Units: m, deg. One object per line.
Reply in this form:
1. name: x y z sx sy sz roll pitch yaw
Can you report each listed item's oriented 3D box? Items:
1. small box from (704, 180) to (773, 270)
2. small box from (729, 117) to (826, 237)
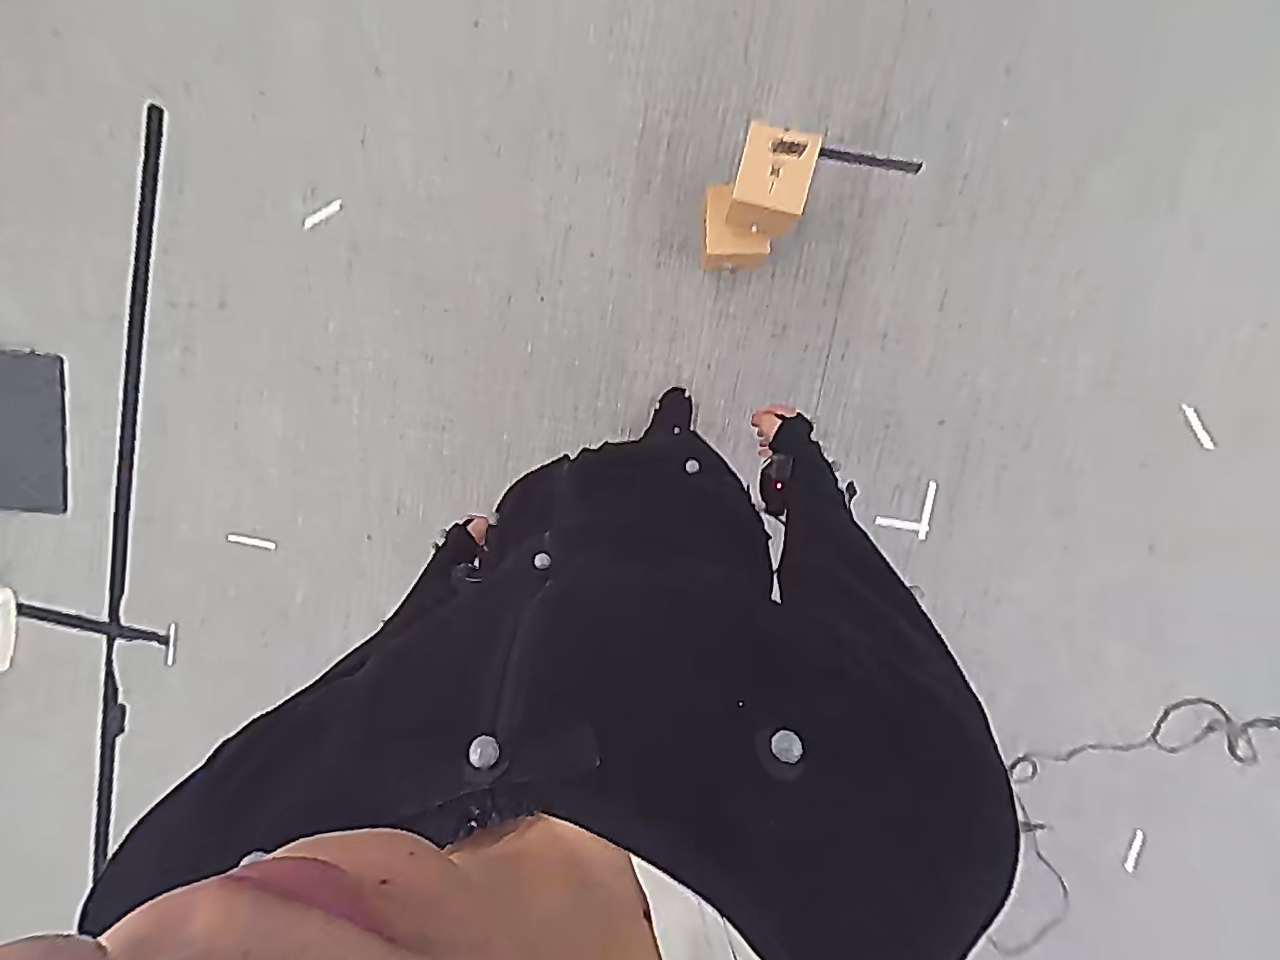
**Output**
1. small box: 0.260 -0.679 1.452 0.168 0.176 0.179 0 96 3
2. small box: 0.315 -0.709 1.282 0.168 0.176 0.179 15 97 2
